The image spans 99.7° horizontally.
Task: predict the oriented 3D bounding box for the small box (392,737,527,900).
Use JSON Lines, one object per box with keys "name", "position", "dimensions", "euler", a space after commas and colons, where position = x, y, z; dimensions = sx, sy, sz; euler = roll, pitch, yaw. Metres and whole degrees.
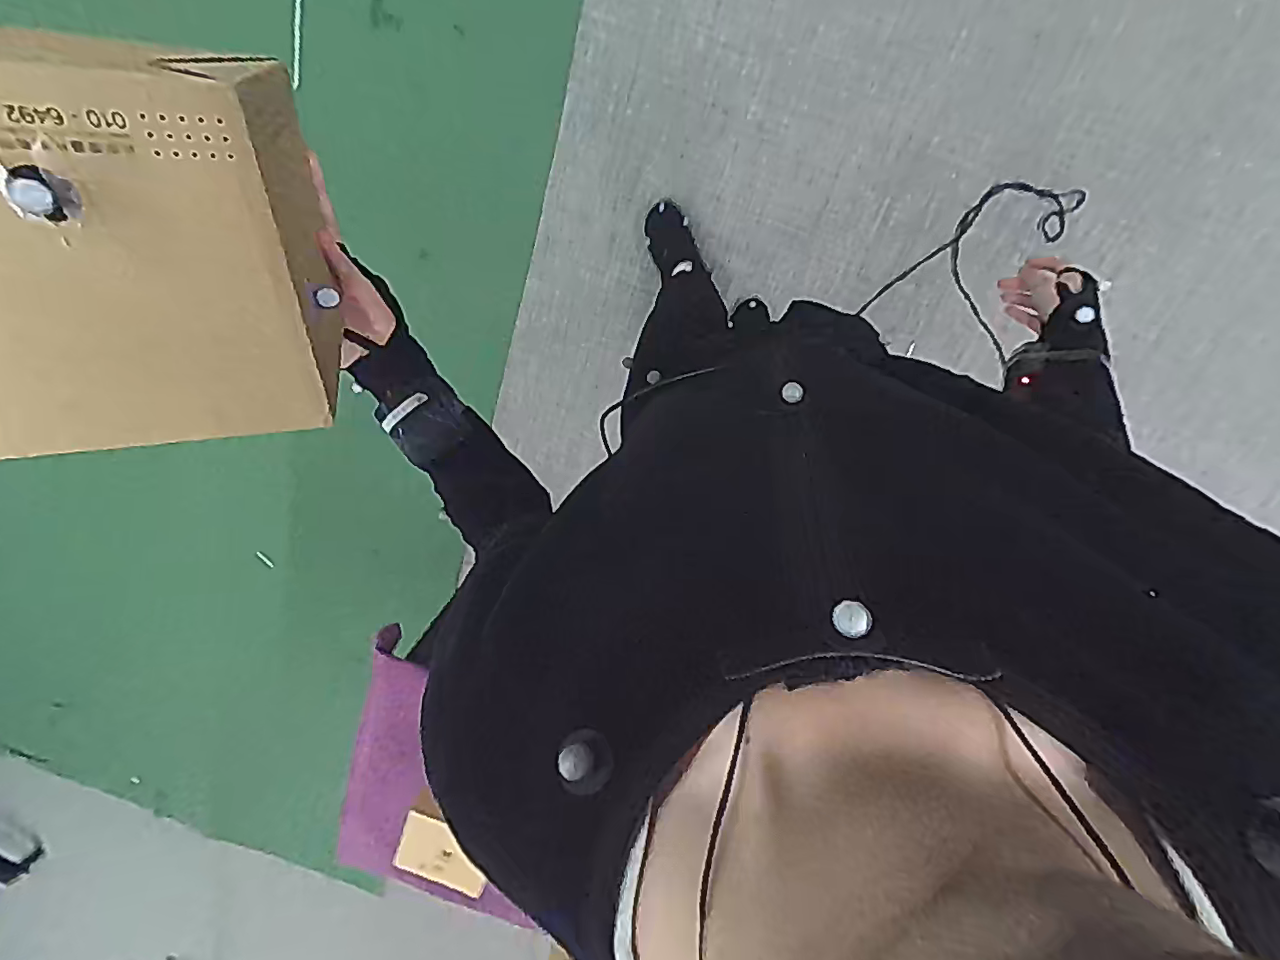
{"name": "small box", "position": [-0.324, 0.617, 1.002], "dimensions": [0.168, 0.176, 0.179], "euler": [23, 115, -2]}
